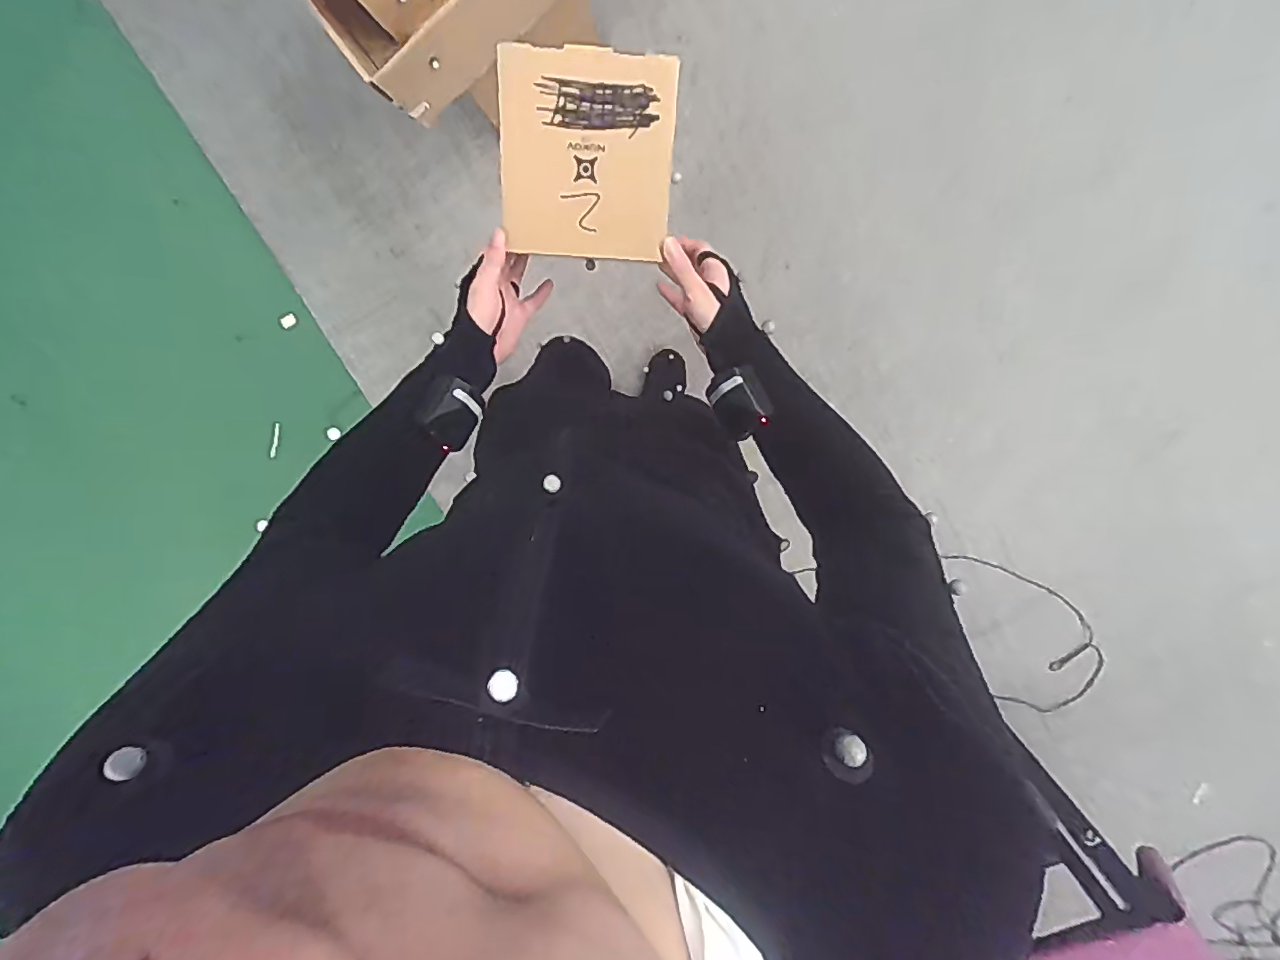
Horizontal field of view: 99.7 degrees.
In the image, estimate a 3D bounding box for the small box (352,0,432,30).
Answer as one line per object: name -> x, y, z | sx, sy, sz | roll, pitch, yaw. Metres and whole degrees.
small box -> -0.450, -0.910, 0.904 | 0.168, 0.176, 0.179 | -35, 99, 12
